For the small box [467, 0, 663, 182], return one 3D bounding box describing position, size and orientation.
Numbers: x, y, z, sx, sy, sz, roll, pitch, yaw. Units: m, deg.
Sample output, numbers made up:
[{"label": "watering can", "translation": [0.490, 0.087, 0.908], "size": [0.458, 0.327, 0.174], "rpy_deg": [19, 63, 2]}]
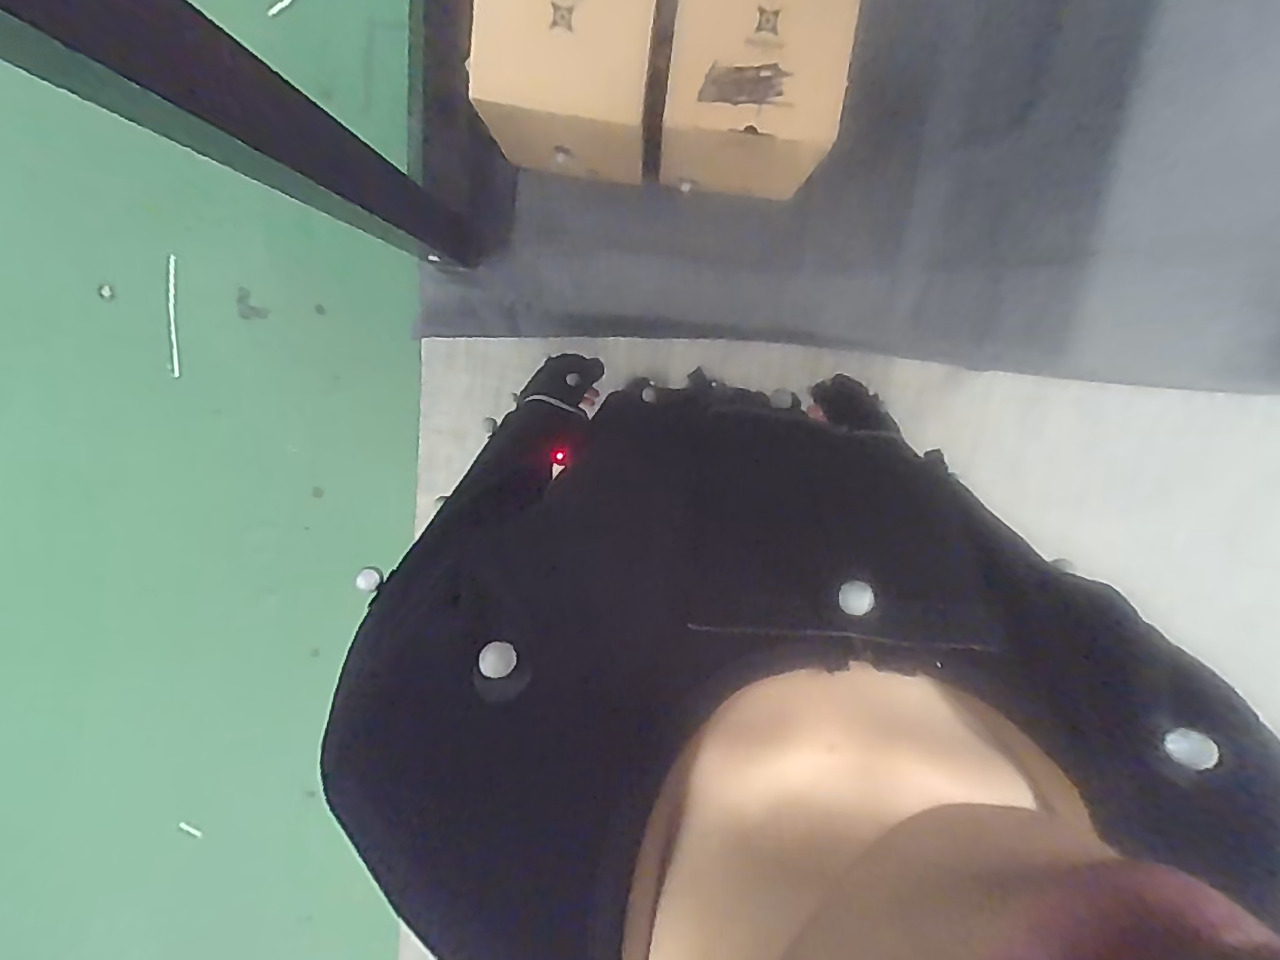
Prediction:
[{"label": "small box", "translation": [-0.068, -0.439, 0.565], "size": [0.168, 0.176, 0.179], "rpy_deg": [9, 101, -2]}]
